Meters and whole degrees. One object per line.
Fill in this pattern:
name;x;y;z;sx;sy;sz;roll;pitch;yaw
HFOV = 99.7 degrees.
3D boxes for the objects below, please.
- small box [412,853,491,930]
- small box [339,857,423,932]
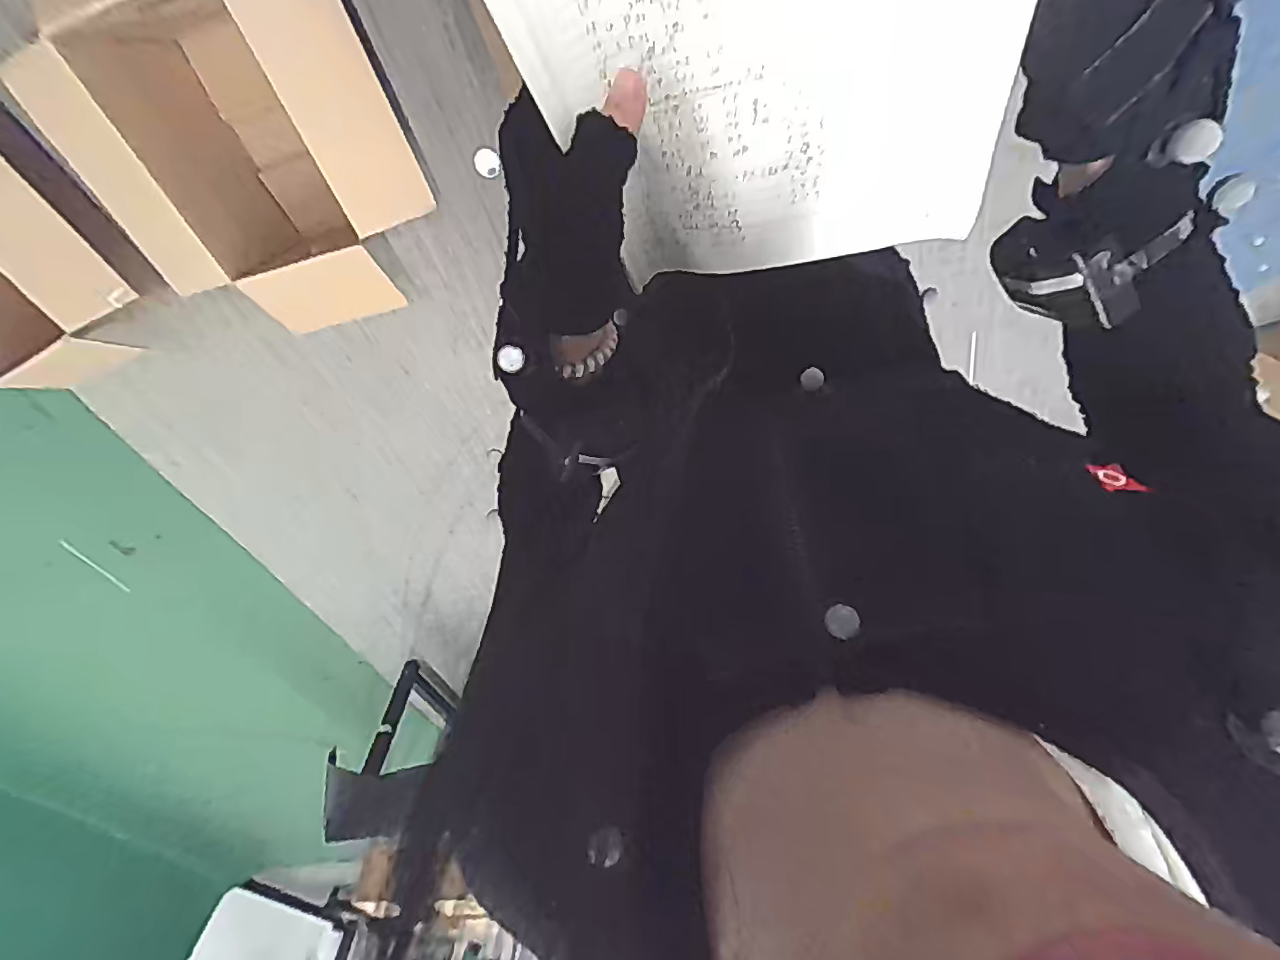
small box;-0.615;1.367;1.800;0.179;0.176;0.168;-15;127;13
small box;-0.871;1.408;1.838;0.168;0.176;0.179;-11;128;9
